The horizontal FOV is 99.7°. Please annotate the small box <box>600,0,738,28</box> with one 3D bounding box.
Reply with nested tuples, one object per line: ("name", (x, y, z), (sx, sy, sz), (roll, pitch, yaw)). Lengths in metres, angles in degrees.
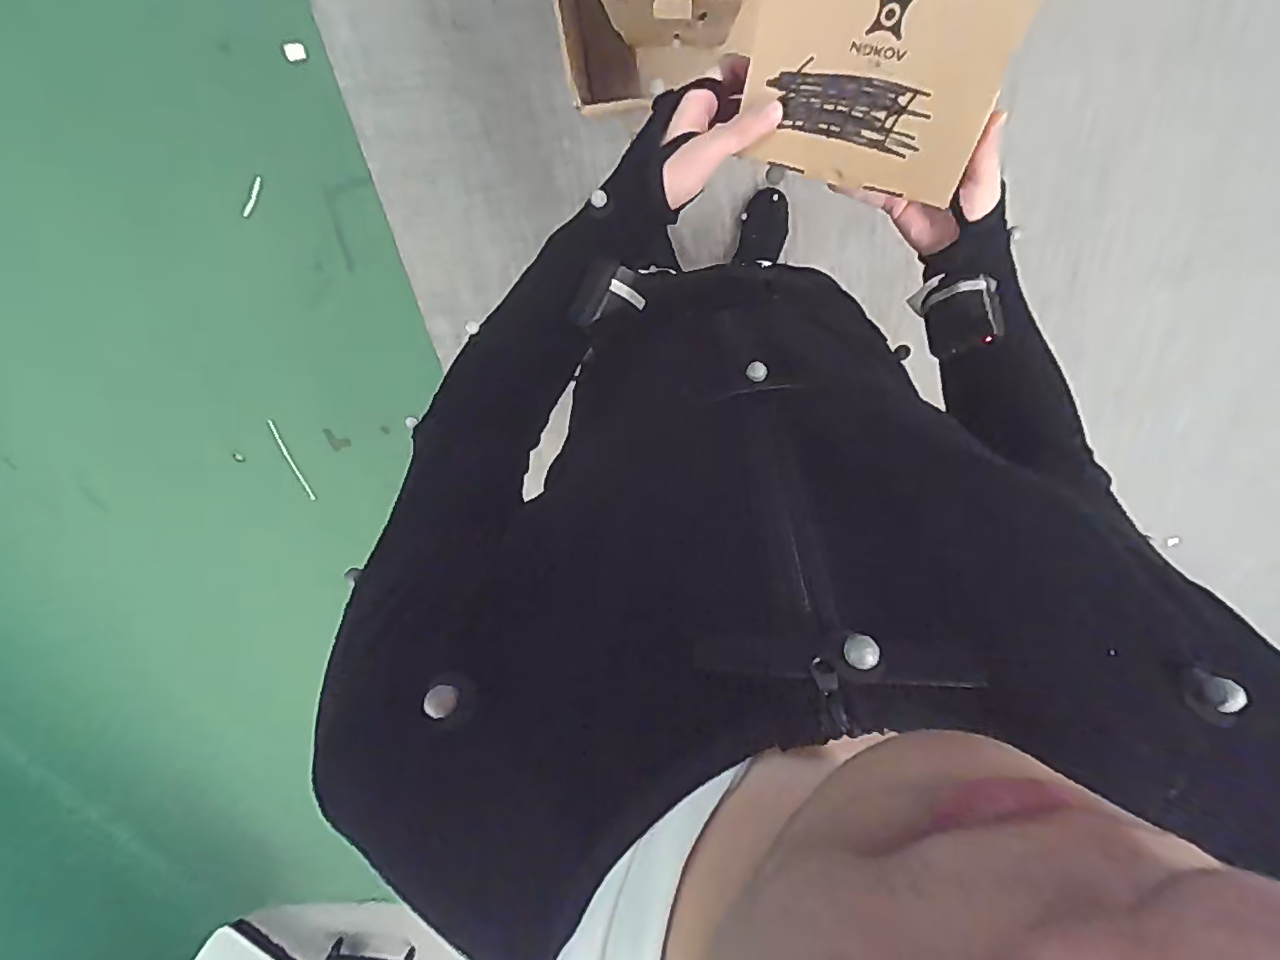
("small box", (0.041, -0.653, 0.630), (0.168, 0.176, 0.179), (3, 120, 2))
